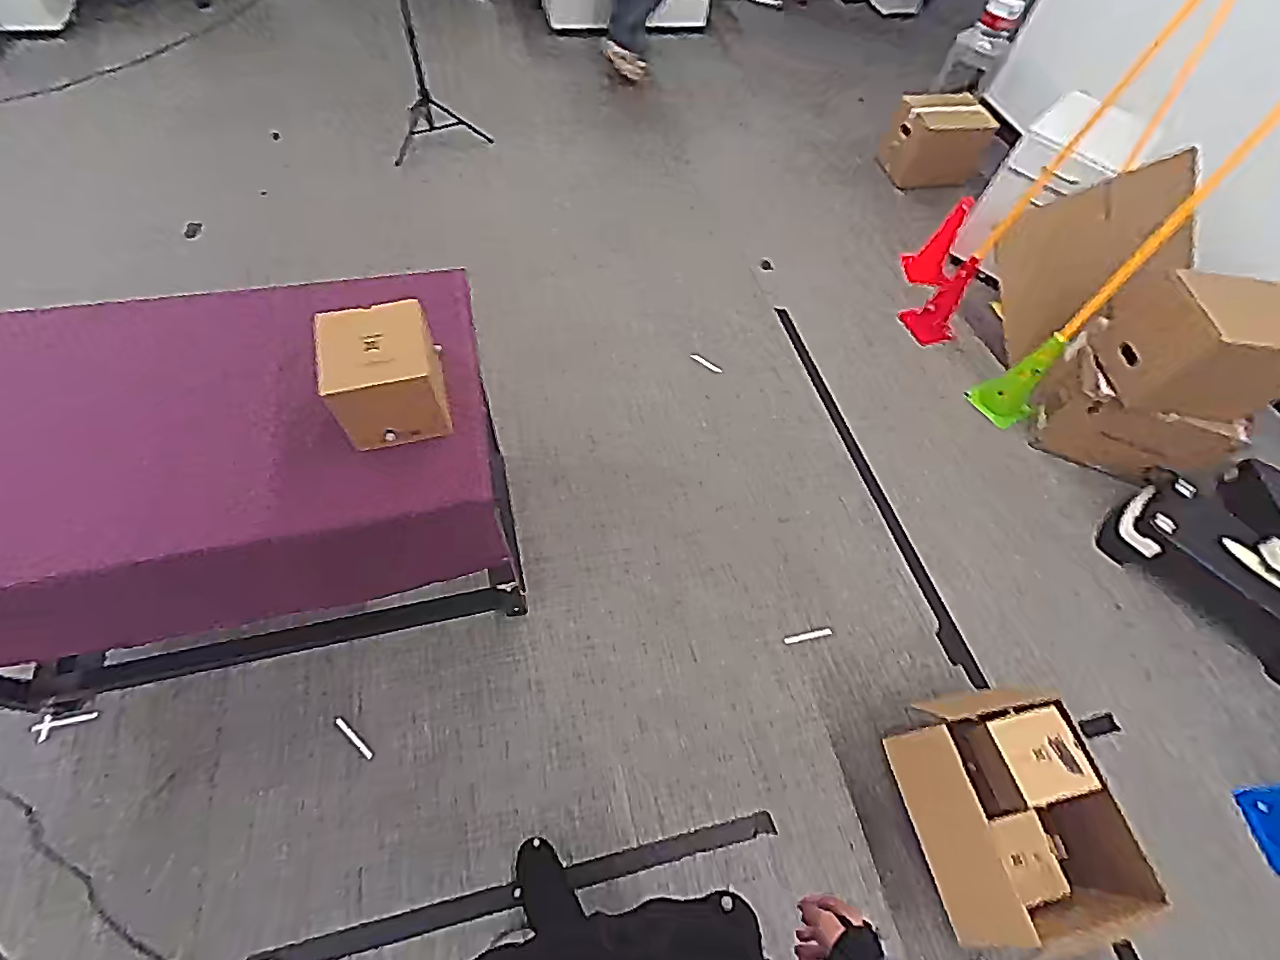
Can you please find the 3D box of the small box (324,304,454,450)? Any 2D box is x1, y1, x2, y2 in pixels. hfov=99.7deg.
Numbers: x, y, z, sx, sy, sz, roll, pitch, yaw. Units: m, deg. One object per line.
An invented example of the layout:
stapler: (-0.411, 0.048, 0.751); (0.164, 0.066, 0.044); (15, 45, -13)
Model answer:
small box: (-0.437, -0.179, 0.955); (0.168, 0.176, 0.179); (-13, 61, -12)
